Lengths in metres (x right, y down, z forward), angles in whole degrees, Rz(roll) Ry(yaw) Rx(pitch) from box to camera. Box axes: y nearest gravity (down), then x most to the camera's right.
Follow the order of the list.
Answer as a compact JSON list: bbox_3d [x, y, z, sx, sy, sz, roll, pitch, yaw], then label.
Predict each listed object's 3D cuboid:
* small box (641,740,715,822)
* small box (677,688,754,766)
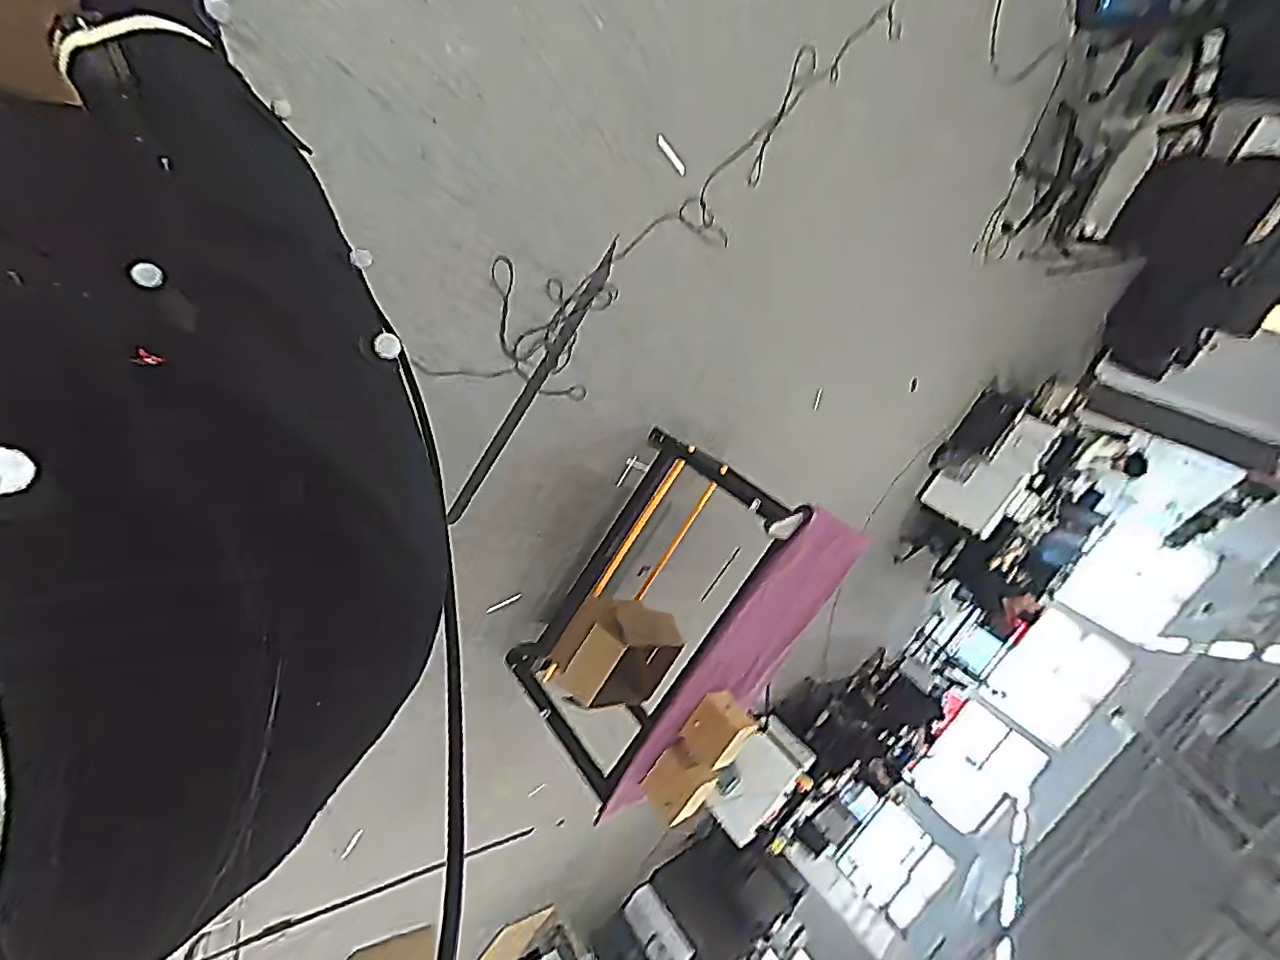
[{"bbox_3d":[0.129,1.063,1.921,0.179,0.176,0.168,-57,145,7],"label":"small box"},{"bbox_3d":[0.269,0.862,1.898,0.168,0.176,0.179,24,101,-53],"label":"small box"}]
